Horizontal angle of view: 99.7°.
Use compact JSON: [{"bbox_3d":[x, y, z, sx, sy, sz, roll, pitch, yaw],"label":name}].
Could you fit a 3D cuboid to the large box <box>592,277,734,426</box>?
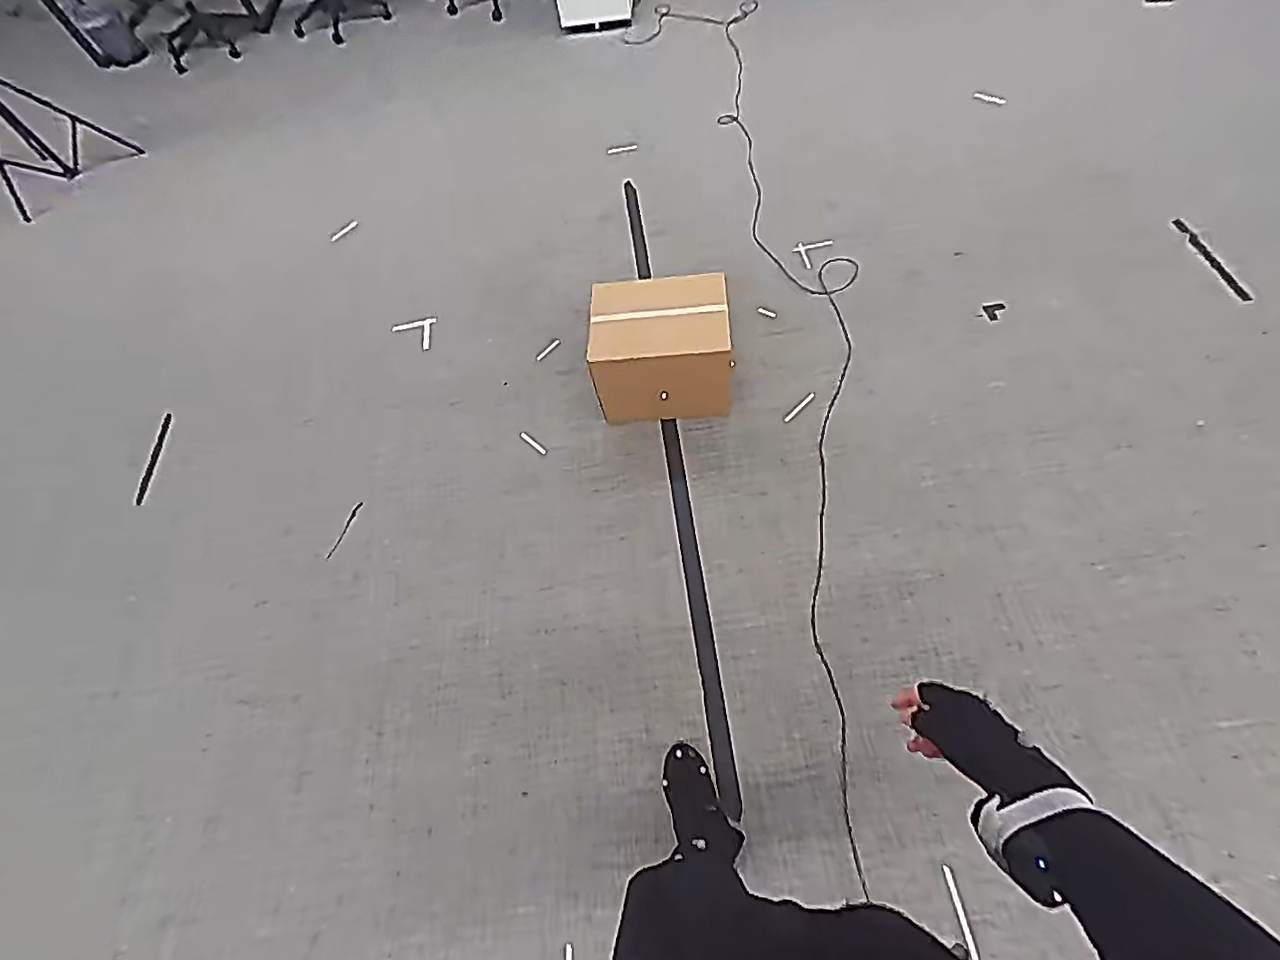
[{"bbox_3d":[0.076,-0.390,1.692,0.408,0.320,0.320,-3,61,6],"label":"large box"}]
